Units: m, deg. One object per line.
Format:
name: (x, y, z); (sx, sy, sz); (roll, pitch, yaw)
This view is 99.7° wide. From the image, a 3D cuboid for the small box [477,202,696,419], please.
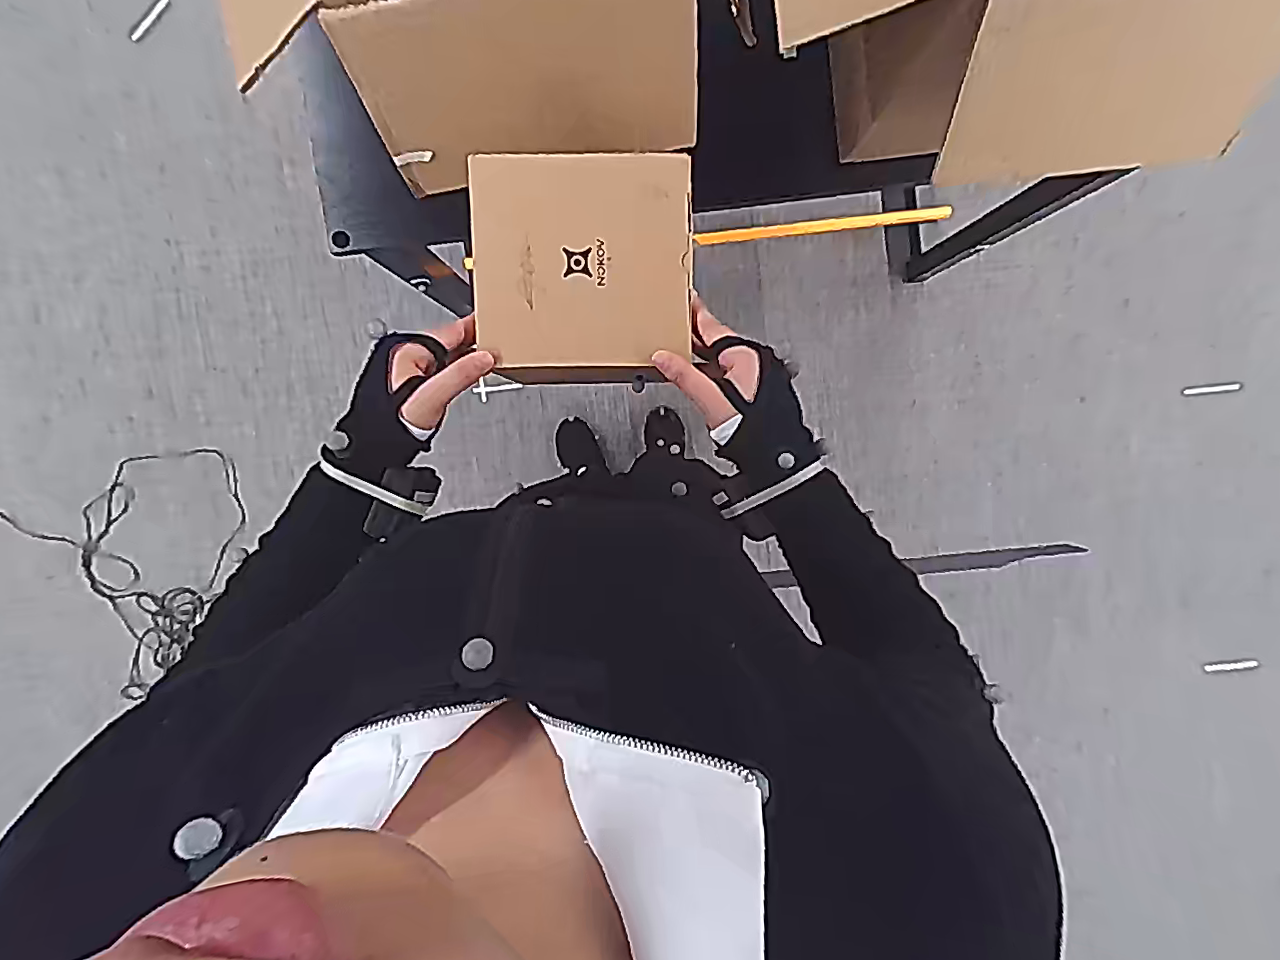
small box: (-0.044, -0.147, 0.519); (0.179, 0.176, 0.168); (-2, 94, 0)
